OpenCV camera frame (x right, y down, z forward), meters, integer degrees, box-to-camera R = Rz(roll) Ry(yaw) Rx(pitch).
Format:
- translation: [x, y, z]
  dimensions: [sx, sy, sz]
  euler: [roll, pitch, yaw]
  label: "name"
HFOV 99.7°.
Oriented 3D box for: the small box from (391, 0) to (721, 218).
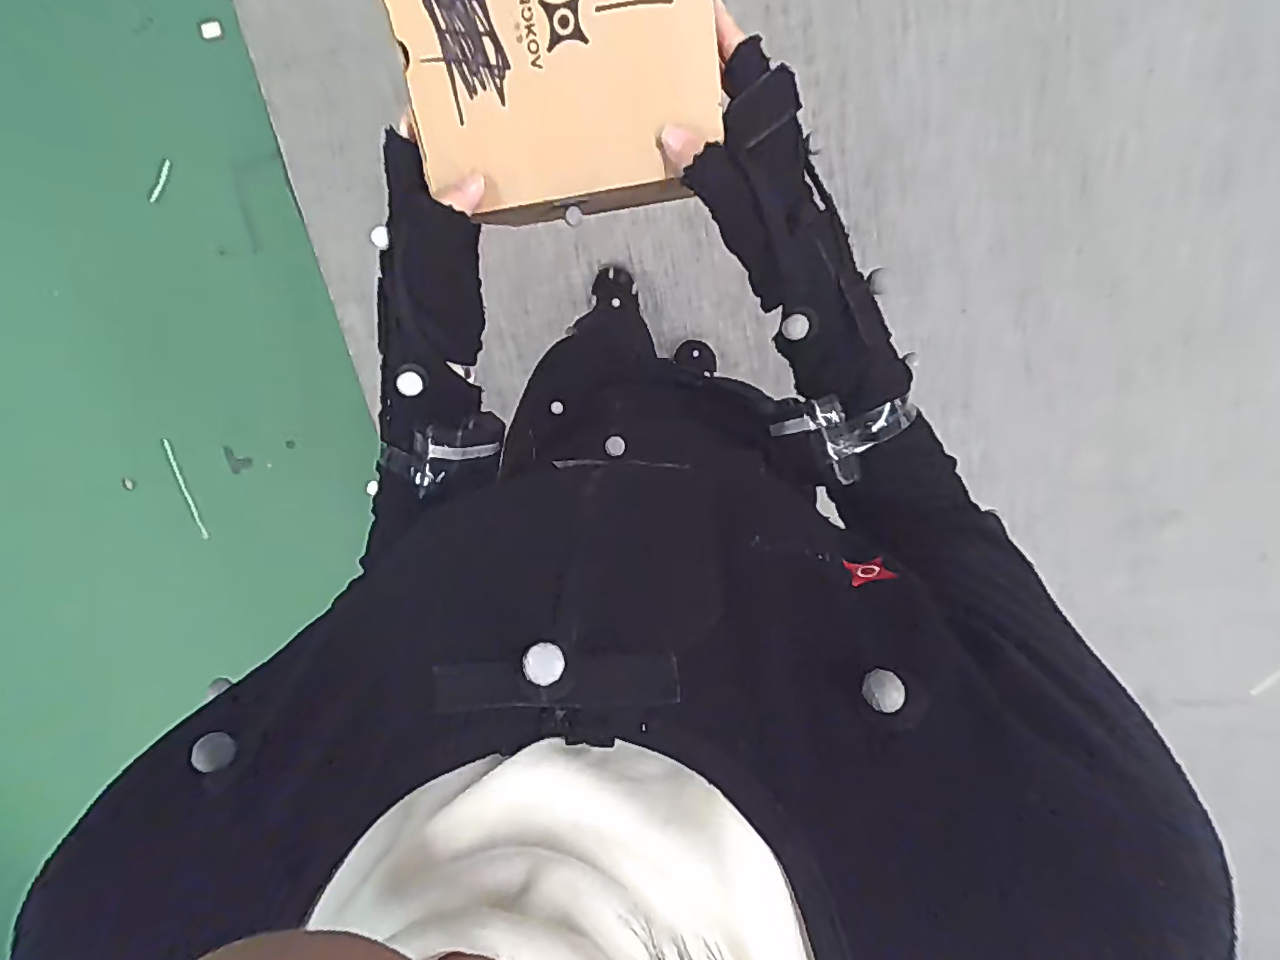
- translation: [-0.042, -0.281, 0.364]
  dimensions: [0.179, 0.176, 0.168]
  euler: [-6, 113, 7]
  label: "small box"
